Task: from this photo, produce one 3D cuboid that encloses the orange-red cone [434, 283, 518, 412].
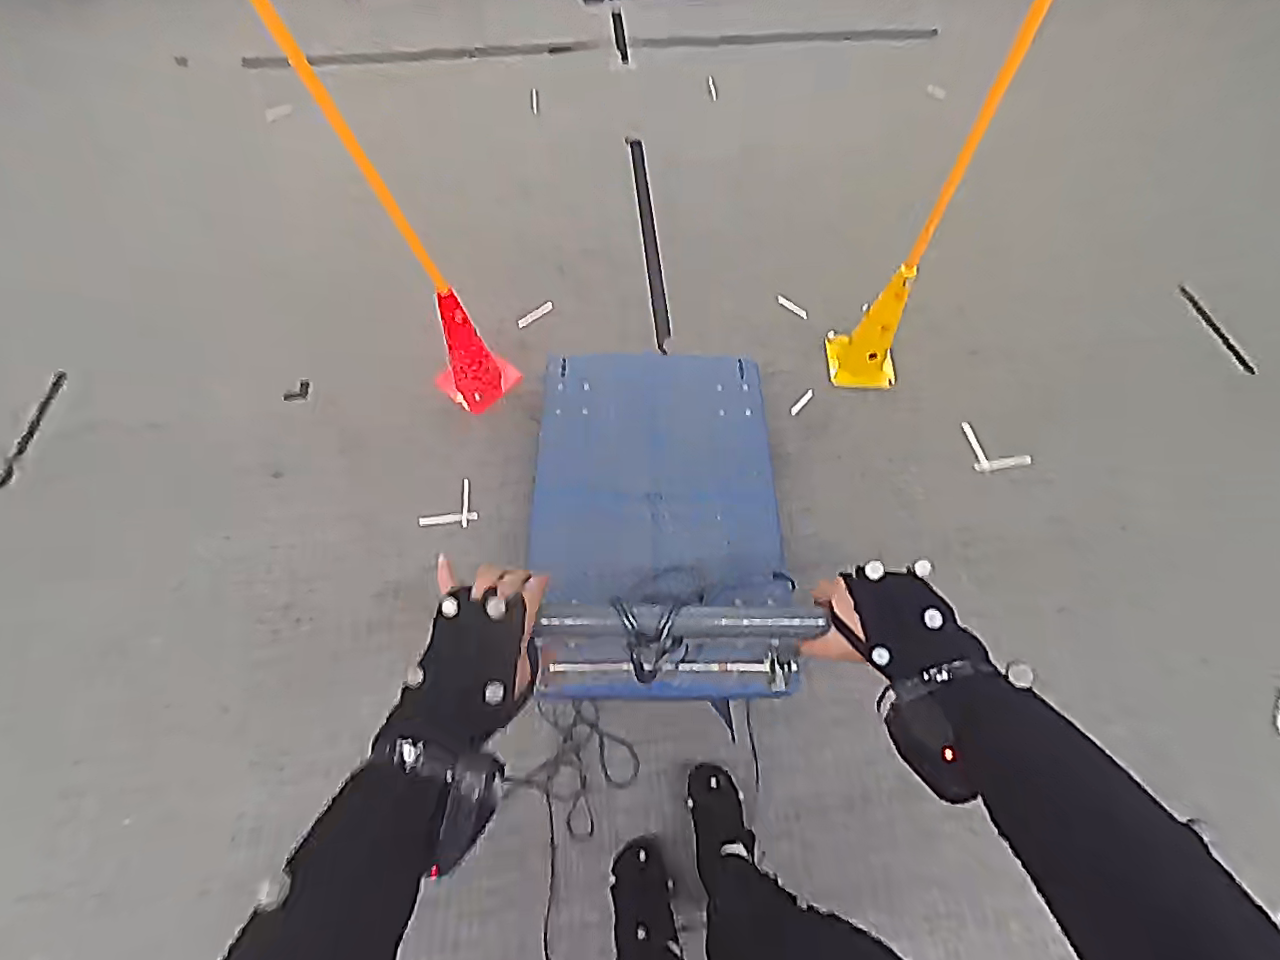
[{"bbox_3d":[-0.490,-0.391,1.491,0.198,0.360,0.199,36,66,16],"label":"orange-red cone"}]
